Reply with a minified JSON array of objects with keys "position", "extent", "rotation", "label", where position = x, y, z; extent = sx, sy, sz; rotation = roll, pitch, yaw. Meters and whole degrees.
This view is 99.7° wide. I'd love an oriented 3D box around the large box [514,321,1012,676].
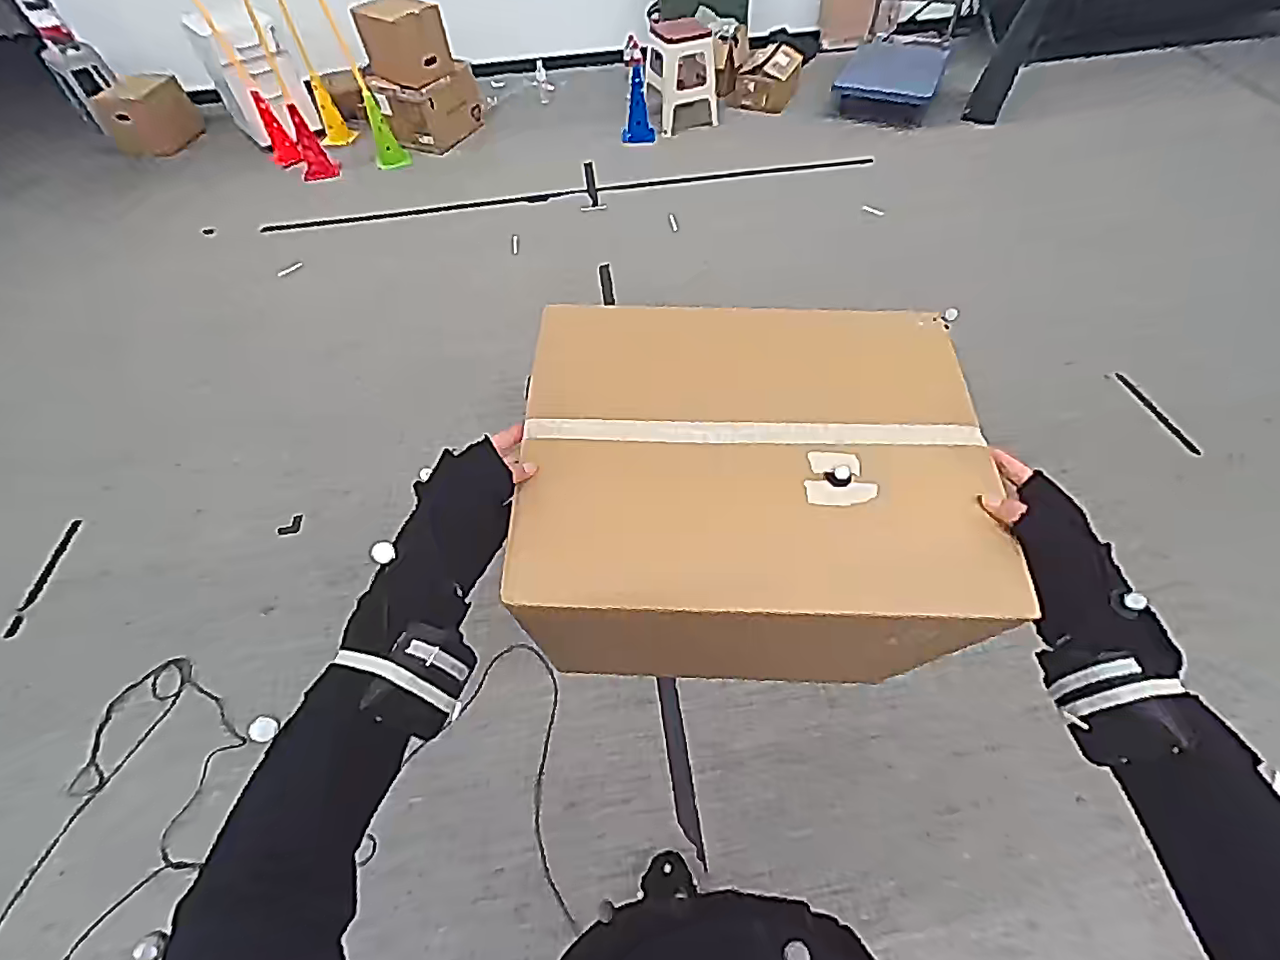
[{"position":[0.096,0.040,0.626],"extent":[0.408,0.320,0.320],"rotation":[1,61,0],"label":"large box"}]
